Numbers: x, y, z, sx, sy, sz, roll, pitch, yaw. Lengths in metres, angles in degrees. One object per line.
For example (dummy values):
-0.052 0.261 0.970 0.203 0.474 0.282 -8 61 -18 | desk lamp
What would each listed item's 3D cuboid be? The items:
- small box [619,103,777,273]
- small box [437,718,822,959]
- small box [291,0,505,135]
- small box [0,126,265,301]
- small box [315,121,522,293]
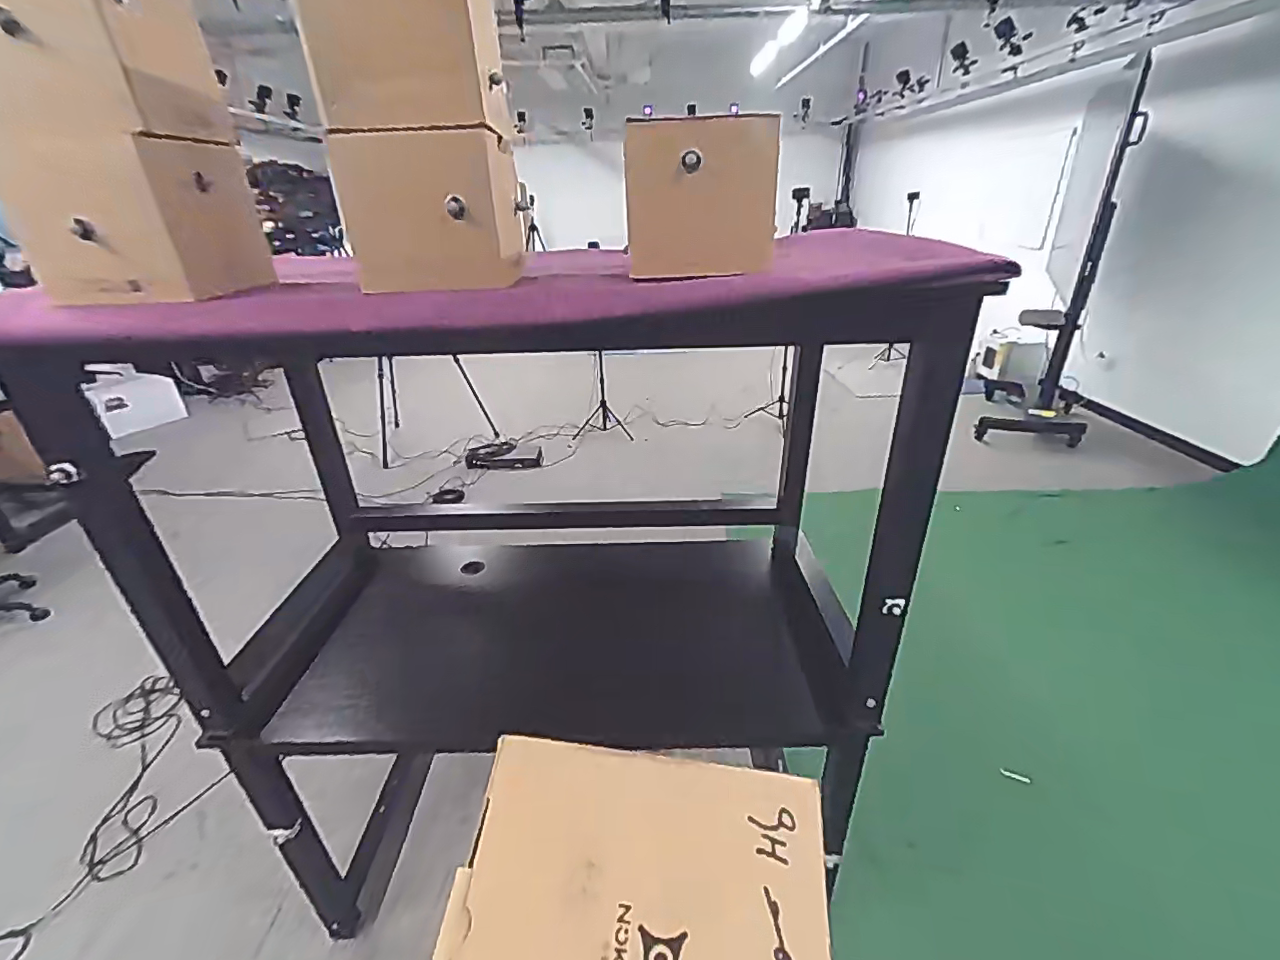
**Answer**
0.069 -0.360 0.690 0.179 0.176 0.168 -1 26 2 | small box
-0.005 0.254 0.316 0.179 0.176 0.168 7 56 2 | small box
-0.260 -0.481 0.599 0.179 0.176 0.168 -3 27 -2 | small box
-0.594 -0.313 0.645 0.168 0.176 0.179 -2 29 -2 | small box
-0.252 -0.335 0.672 0.179 0.176 0.168 -3 27 0 | small box
